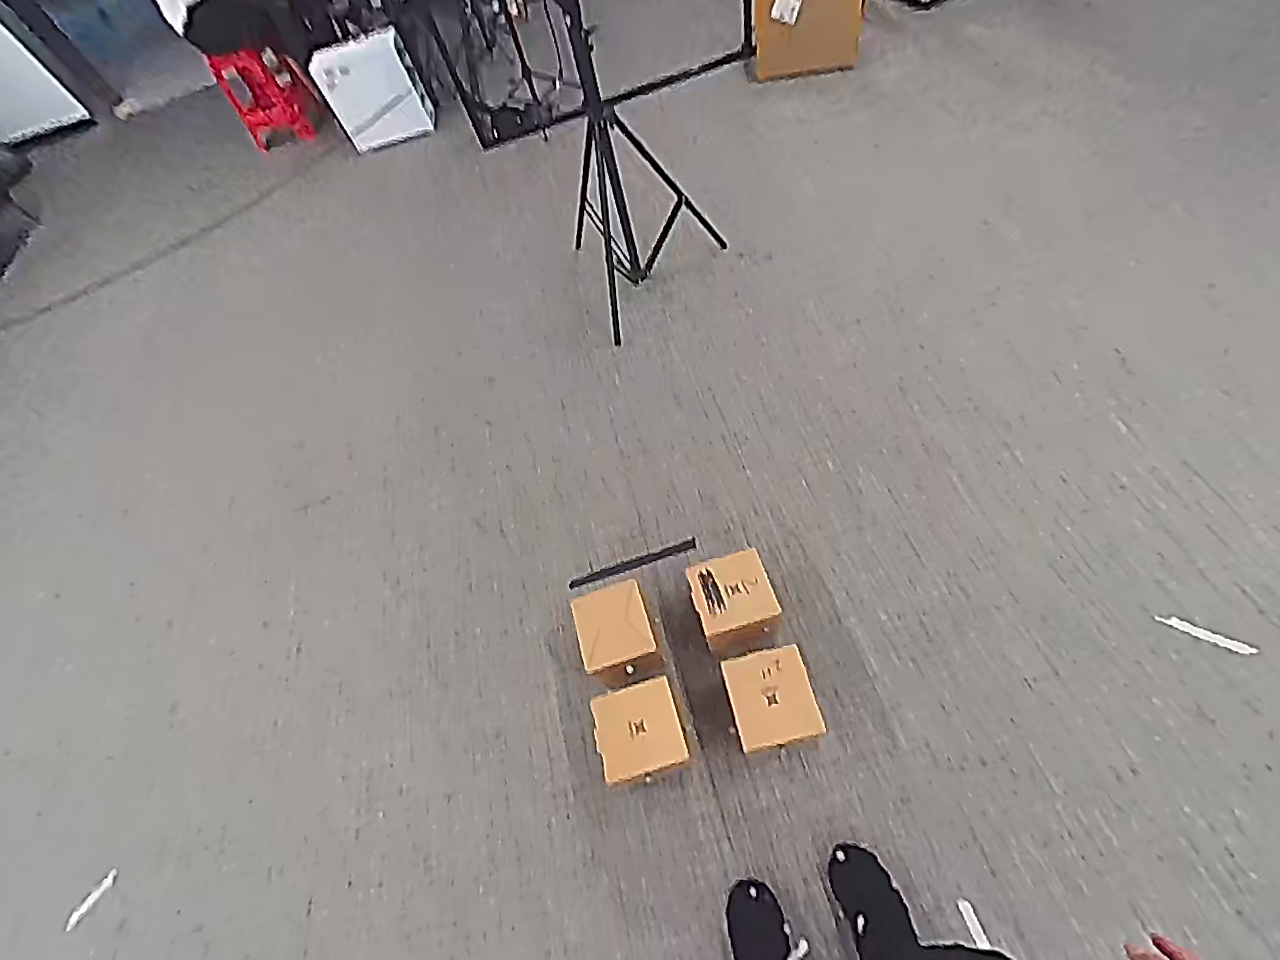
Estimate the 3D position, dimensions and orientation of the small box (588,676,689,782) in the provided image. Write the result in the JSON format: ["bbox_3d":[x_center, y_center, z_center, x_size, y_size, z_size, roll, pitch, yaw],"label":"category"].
[{"bbox_3d":[0.003,0.546,1.181,0.179,0.176,0.168,-19,58,2],"label":"small box"}]

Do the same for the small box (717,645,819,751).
[{"bbox_3d":[0.270,0.474,1.162,0.168,0.176,0.179,-15,59,3],"label":"small box"}]
